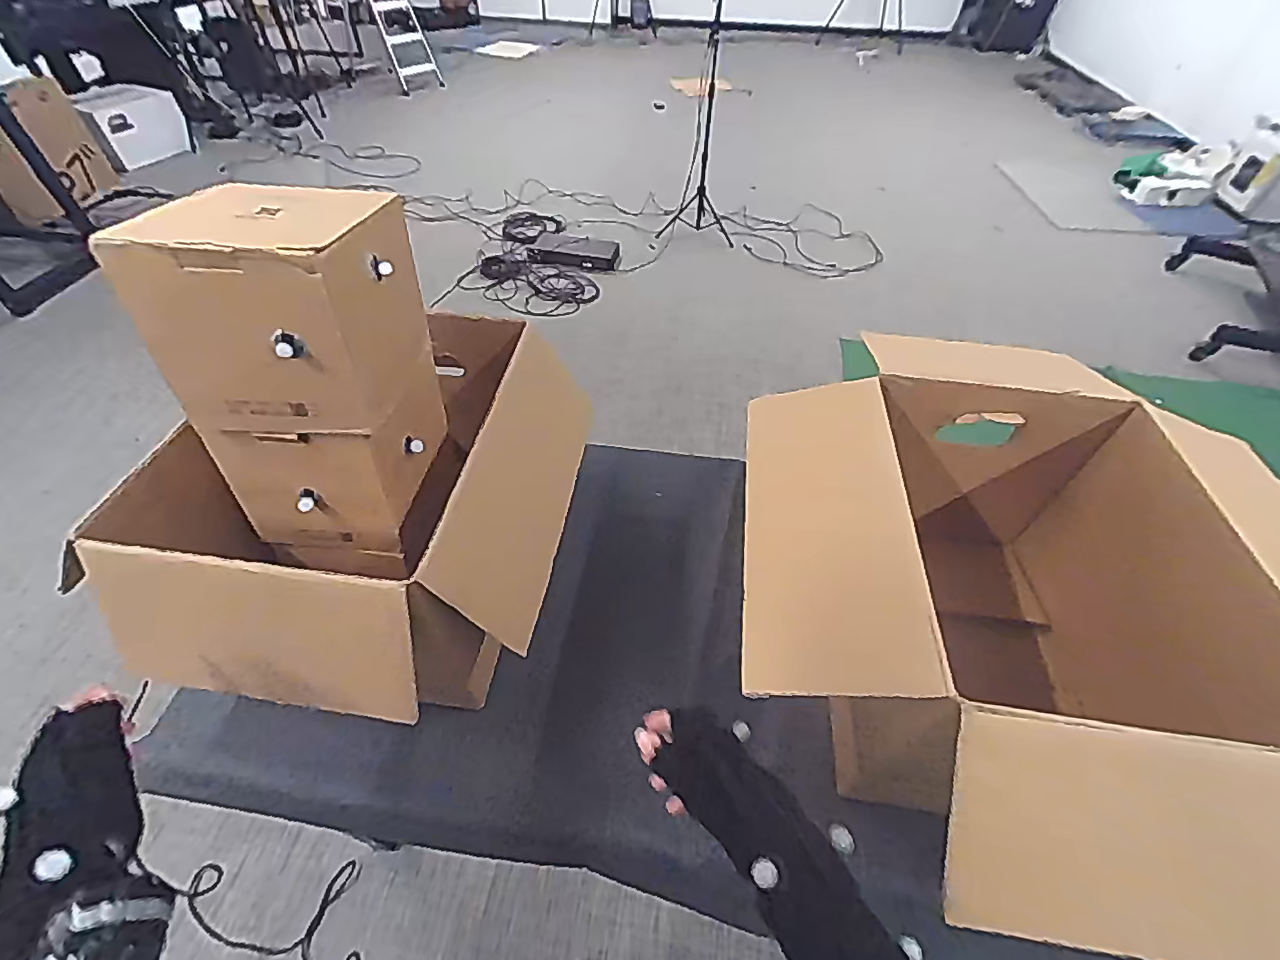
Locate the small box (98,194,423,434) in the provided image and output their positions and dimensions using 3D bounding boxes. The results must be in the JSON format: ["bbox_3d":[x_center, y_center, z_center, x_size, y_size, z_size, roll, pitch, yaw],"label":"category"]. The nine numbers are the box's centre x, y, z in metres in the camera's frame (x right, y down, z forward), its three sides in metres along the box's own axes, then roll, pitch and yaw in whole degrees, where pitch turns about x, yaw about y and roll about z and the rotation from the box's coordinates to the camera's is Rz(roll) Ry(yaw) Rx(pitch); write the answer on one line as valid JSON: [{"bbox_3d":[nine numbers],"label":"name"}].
[{"bbox_3d":[-0.325,-0.159,0.517,0.168,0.176,0.179,4,39,-2],"label":"small box"}]
